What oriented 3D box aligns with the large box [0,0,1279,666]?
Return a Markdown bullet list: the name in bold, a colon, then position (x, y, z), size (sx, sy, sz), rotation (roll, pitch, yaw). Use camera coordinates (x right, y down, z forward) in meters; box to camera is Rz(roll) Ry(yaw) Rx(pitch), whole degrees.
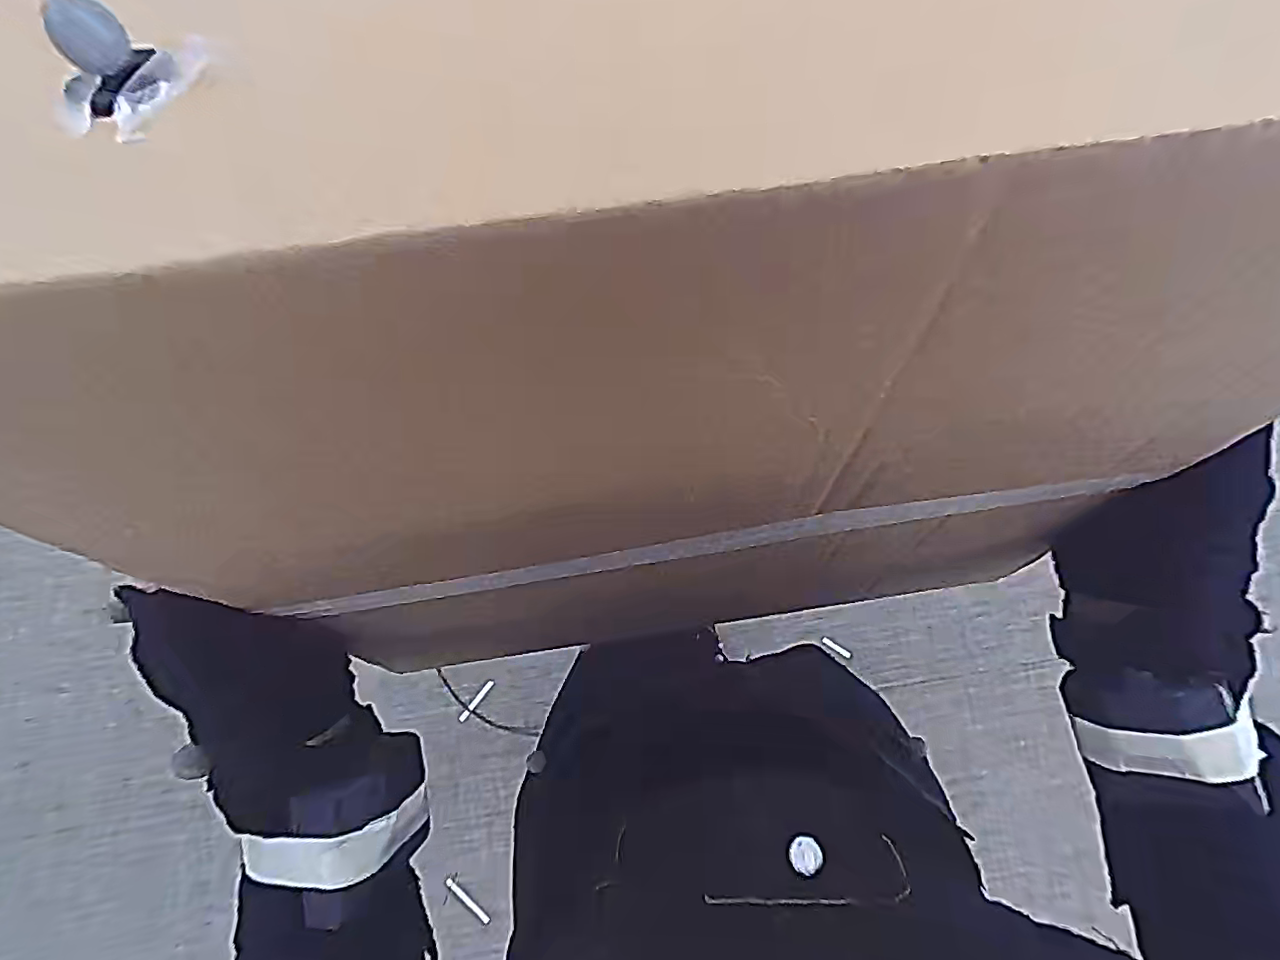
- **large box**: position (0.015, -0.108, 0.311), size (0.408, 0.320, 0.320), rotation (-9, 62, -2)
